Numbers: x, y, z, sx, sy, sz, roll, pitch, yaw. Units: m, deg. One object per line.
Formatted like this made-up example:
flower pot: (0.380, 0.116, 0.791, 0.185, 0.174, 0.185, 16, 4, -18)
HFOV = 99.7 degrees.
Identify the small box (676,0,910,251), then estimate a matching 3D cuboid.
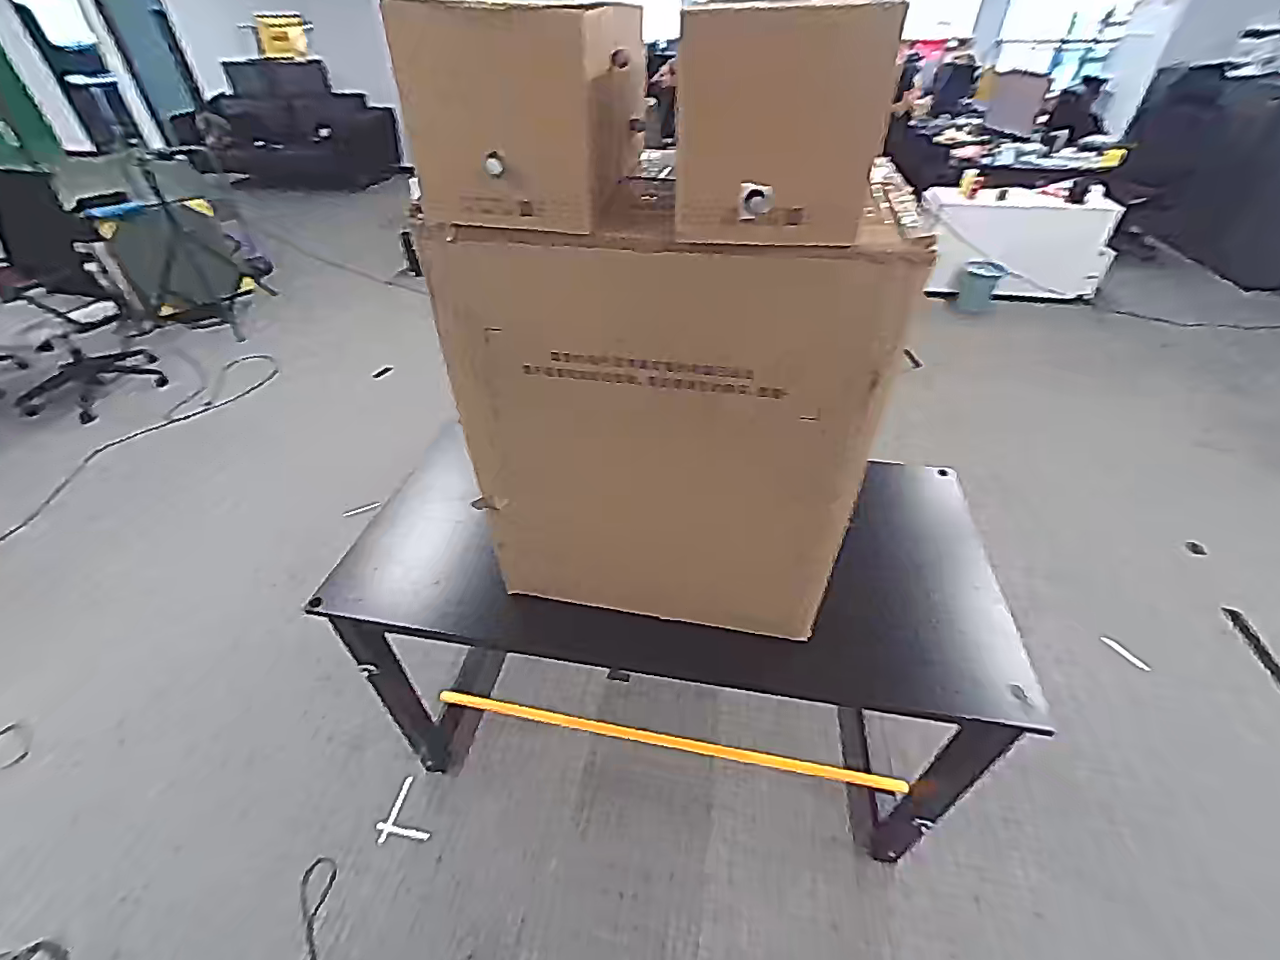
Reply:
small box: (0.120, -0.327, 0.498, 0.168, 0.176, 0.179, 2, 43, 6)
